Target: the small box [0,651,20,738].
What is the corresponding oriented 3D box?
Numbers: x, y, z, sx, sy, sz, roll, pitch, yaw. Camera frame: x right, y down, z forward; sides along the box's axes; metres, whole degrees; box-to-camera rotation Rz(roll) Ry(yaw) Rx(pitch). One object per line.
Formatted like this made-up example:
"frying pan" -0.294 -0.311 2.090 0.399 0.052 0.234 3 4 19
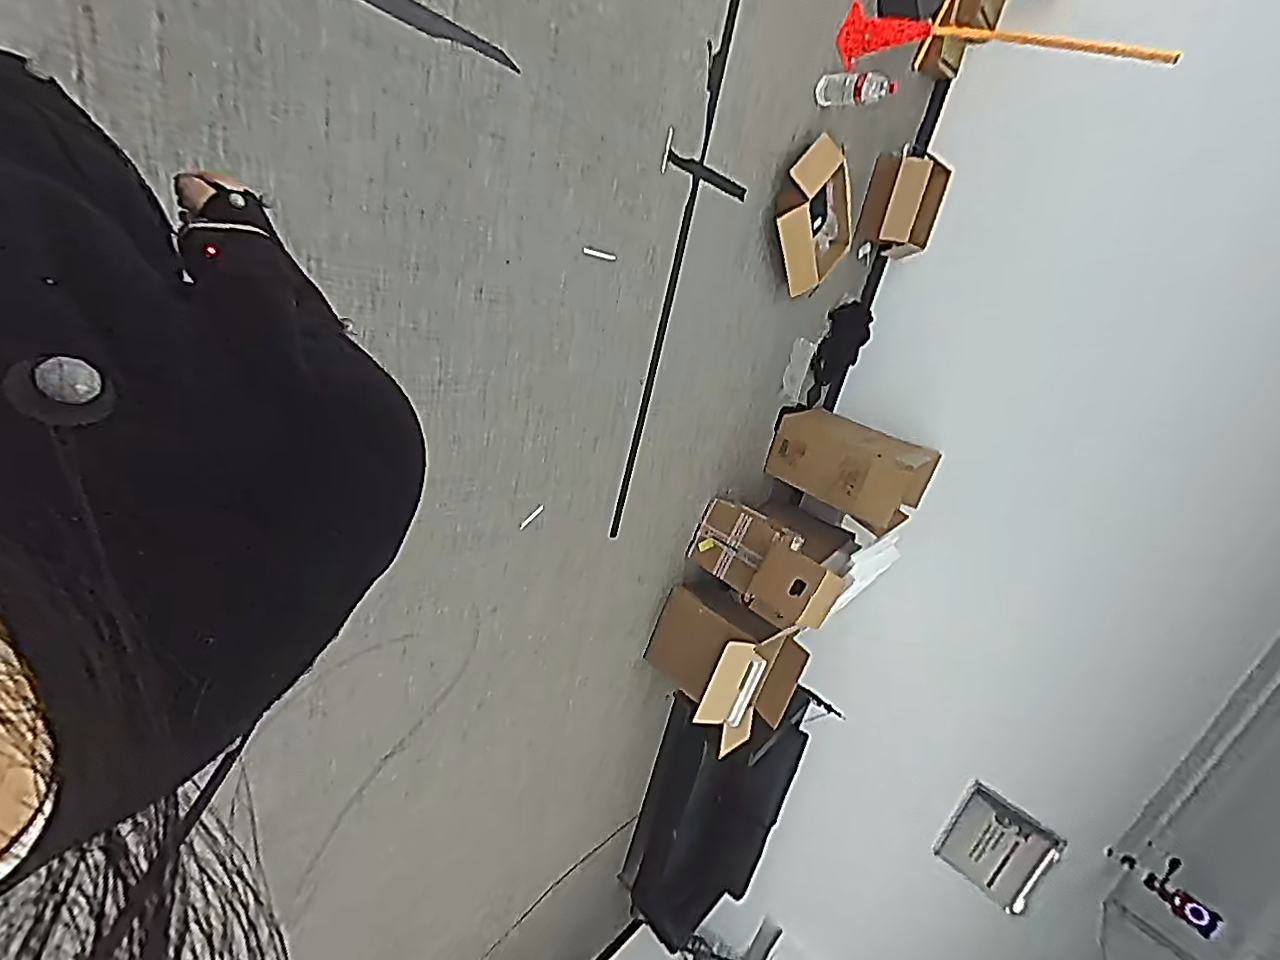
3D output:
"small box" -1.326 0.408 1.023 0.168 0.176 0.179 -22 128 -43
